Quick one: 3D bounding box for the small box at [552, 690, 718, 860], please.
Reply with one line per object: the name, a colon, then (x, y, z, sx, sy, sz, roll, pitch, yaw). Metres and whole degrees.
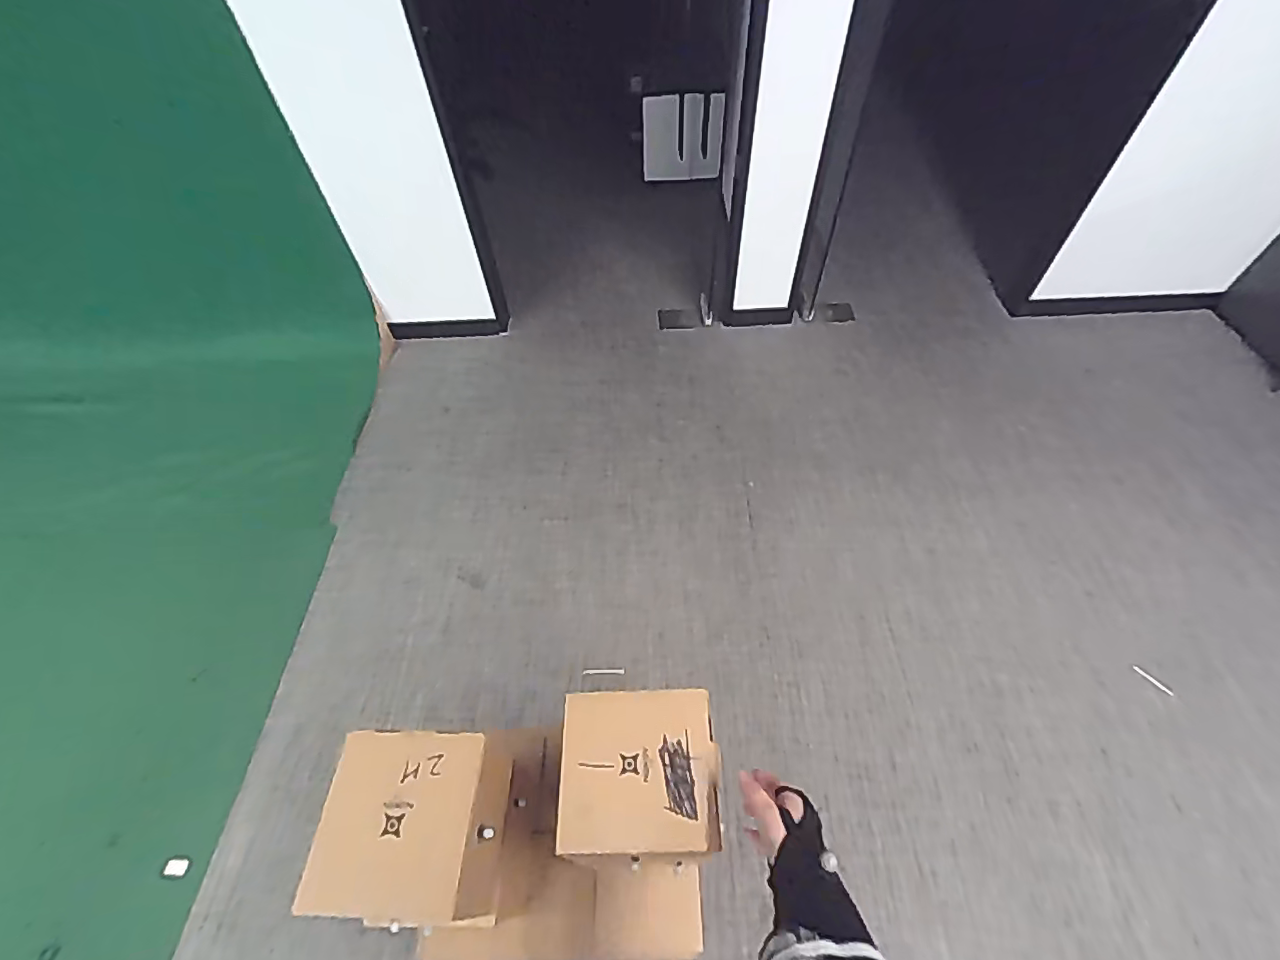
small box: (0.000, 0.369, 0.674, 0.179, 0.176, 0.168, -2, 53, 4)

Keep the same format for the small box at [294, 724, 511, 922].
small box: (-0.263, 0.410, 0.654, 0.168, 0.176, 0.179, 3, 54, 1)

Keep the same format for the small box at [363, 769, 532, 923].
small box: (-0.259, 0.517, 0.778, 0.168, 0.176, 0.179, 0, 54, 1)
